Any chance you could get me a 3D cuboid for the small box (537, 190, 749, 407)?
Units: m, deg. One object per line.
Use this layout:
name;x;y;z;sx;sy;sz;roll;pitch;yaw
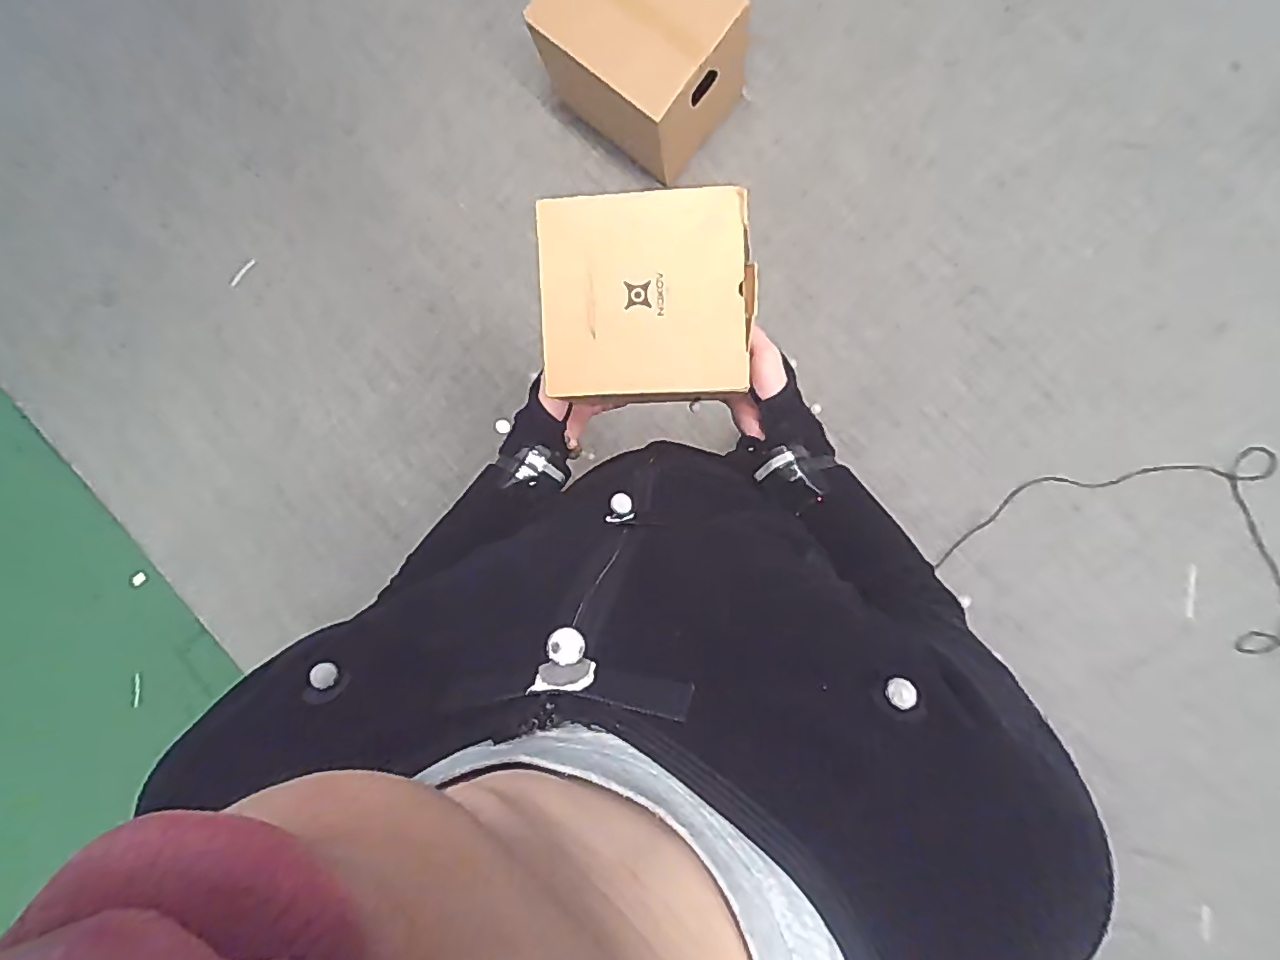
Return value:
small box;0.009;-0.160;0.532;0.179;0.176;0.168;-2;94;6
